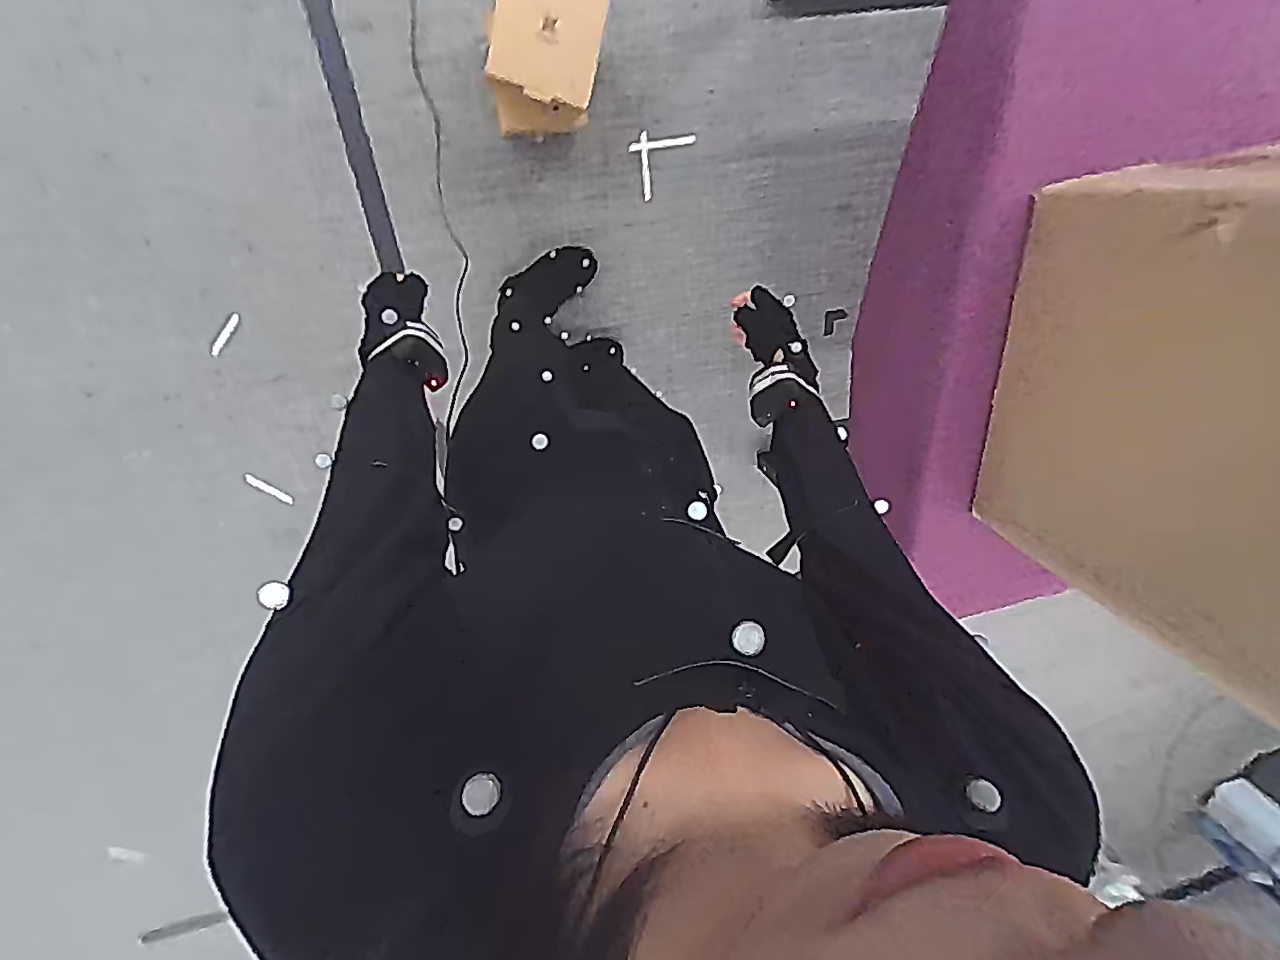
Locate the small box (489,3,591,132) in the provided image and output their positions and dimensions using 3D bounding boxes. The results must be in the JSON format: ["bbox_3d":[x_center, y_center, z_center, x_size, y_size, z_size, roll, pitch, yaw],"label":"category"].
[{"bbox_3d":[-0.195,-0.784,1.042,0.168,0.176,0.179,-9,121,-10],"label":"small box"}]

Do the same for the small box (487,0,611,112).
[{"bbox_3d":[-0.153,-0.735,0.890,0.168,0.176,0.179,8,115,-20],"label":"small box"}]
